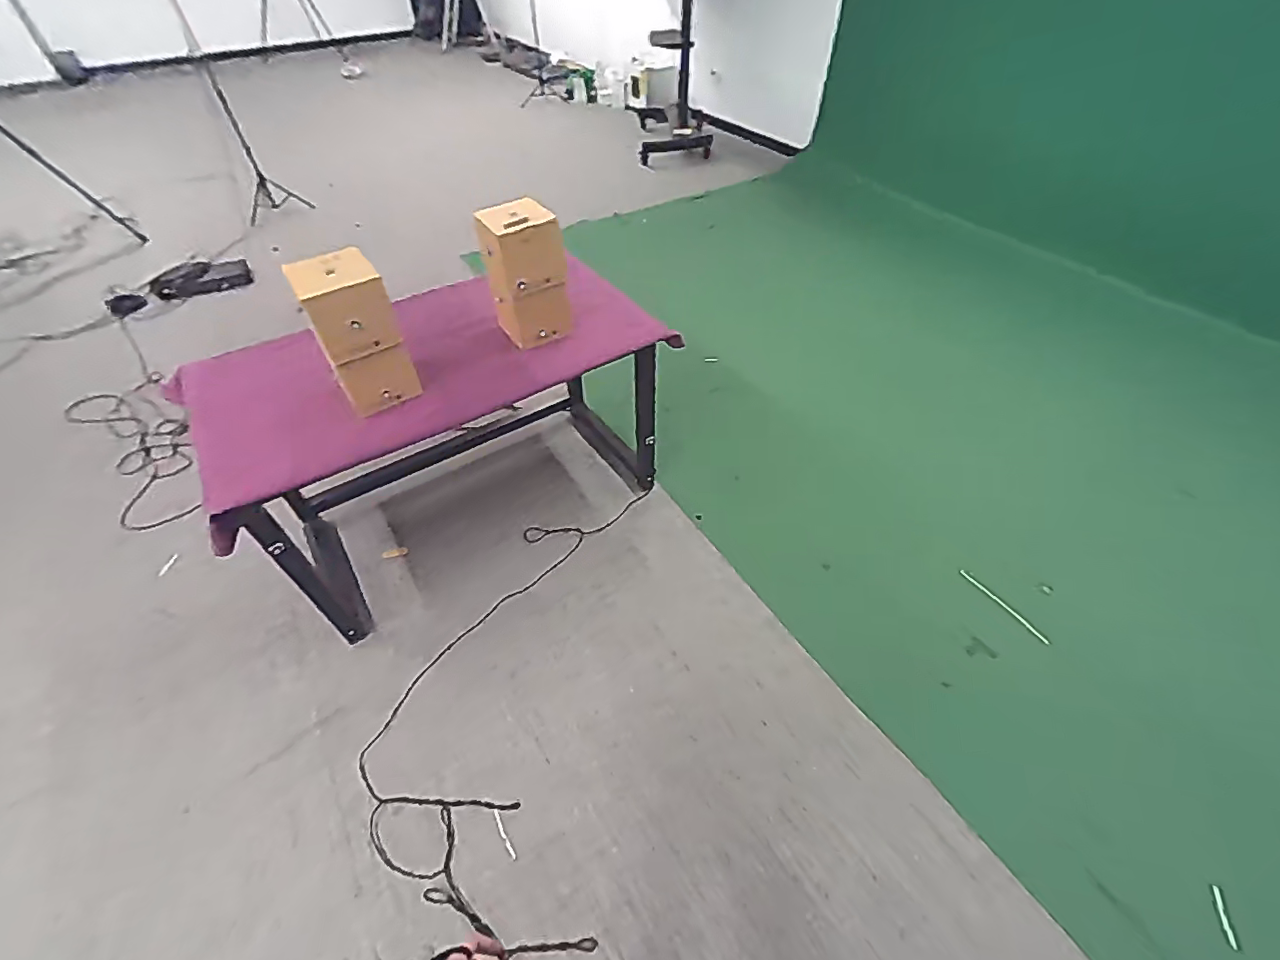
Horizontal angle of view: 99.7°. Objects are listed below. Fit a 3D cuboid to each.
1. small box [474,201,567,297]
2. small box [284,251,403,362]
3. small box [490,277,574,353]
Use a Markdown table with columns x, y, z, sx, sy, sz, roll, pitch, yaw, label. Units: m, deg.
| x | y | z | sx | sy | sz | roll | pitch | yaw | label |
| --- | --- | --- | --- | --- | --- | --- | --- | --- | --- |
| -0.309 | -0.600 | 1.419 | 0.168 | 0.176 | 0.179 | -27 | 51 | -20 | small box |
| -0.667 | -0.389 | 1.233 | 0.168 | 0.176 | 0.179 | -28 | 54 | -23 | small box |
| -0.305 | -0.493 | 1.542 | 0.168 | 0.176 | 0.179 | -26 | 52 | -19 | small box |
